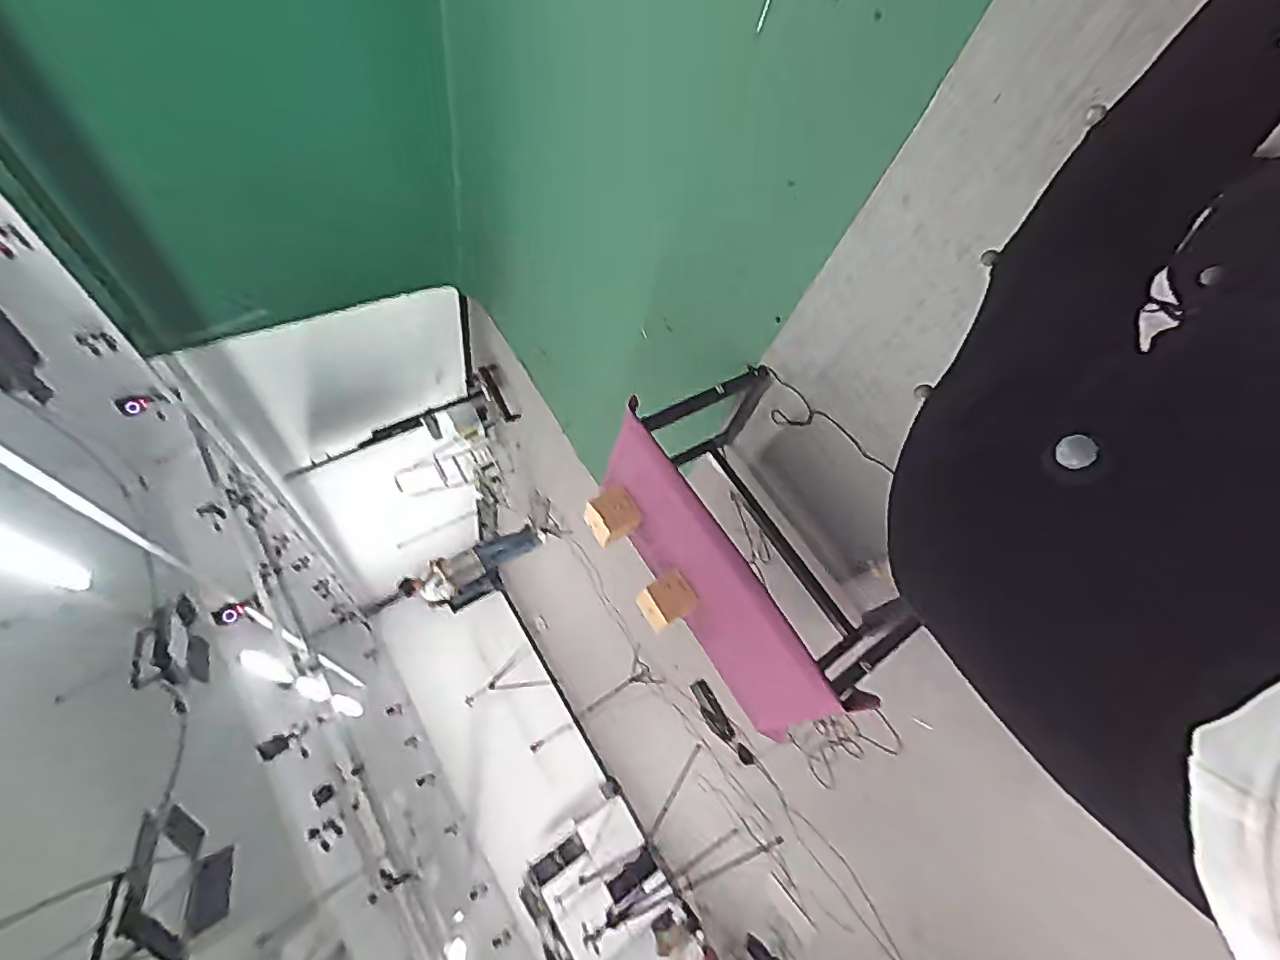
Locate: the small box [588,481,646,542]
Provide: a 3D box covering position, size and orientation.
[{"bbox_3d":[-0.095,0.131,2.297,0.168,0.176,0.179,56,153,16],"label":"small box"}]

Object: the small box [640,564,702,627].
[{"bbox_3d":[0.129,0.465,2.188,0.168,0.176,0.179,56,154,17],"label":"small box"}]
